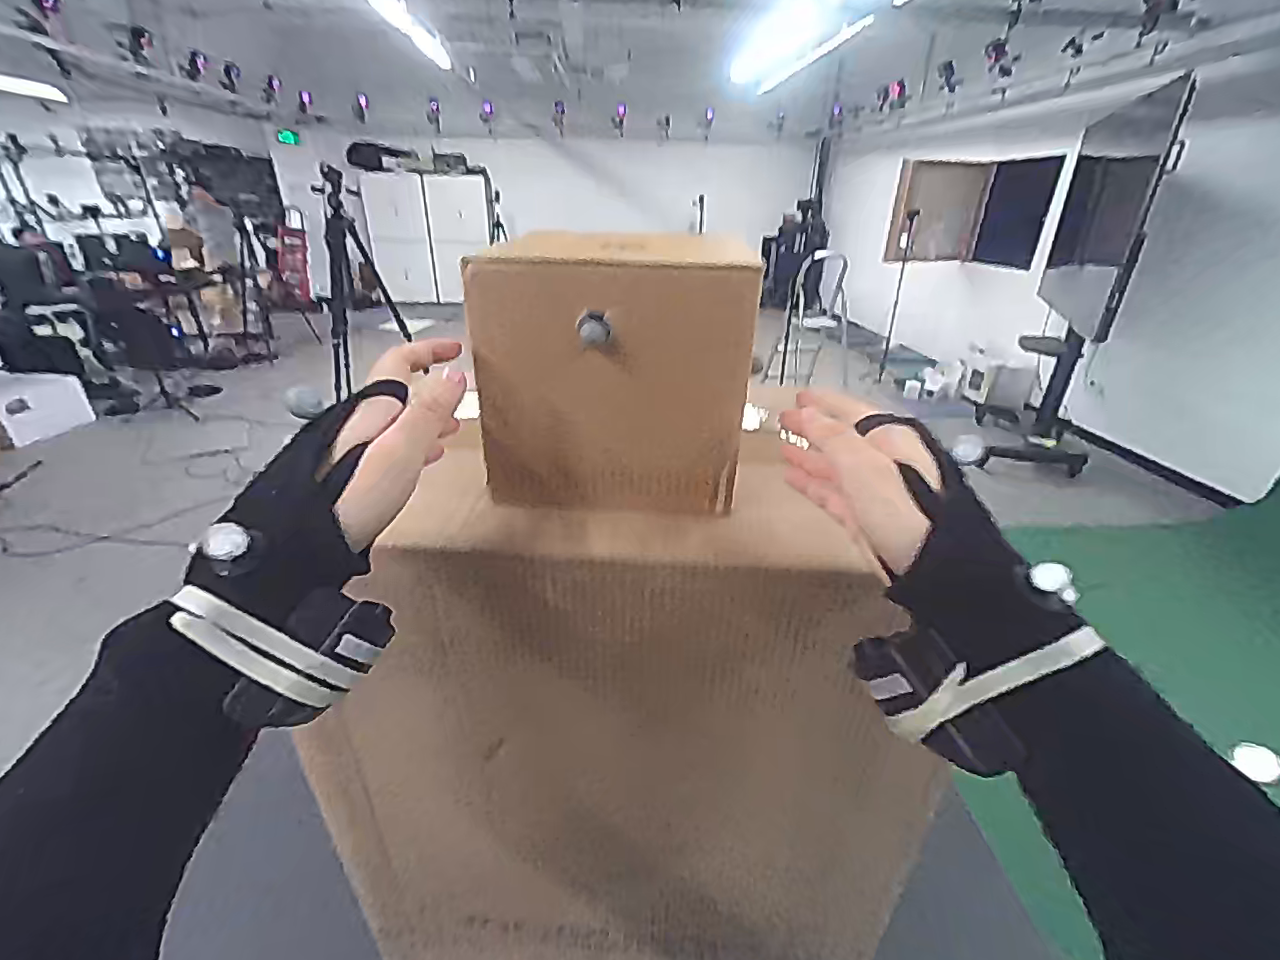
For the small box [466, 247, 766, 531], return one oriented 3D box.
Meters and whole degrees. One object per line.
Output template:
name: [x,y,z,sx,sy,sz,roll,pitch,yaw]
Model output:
small box: [-0.010,-0.075,0.415,0.179,0.176,0.168,3,29,4]
